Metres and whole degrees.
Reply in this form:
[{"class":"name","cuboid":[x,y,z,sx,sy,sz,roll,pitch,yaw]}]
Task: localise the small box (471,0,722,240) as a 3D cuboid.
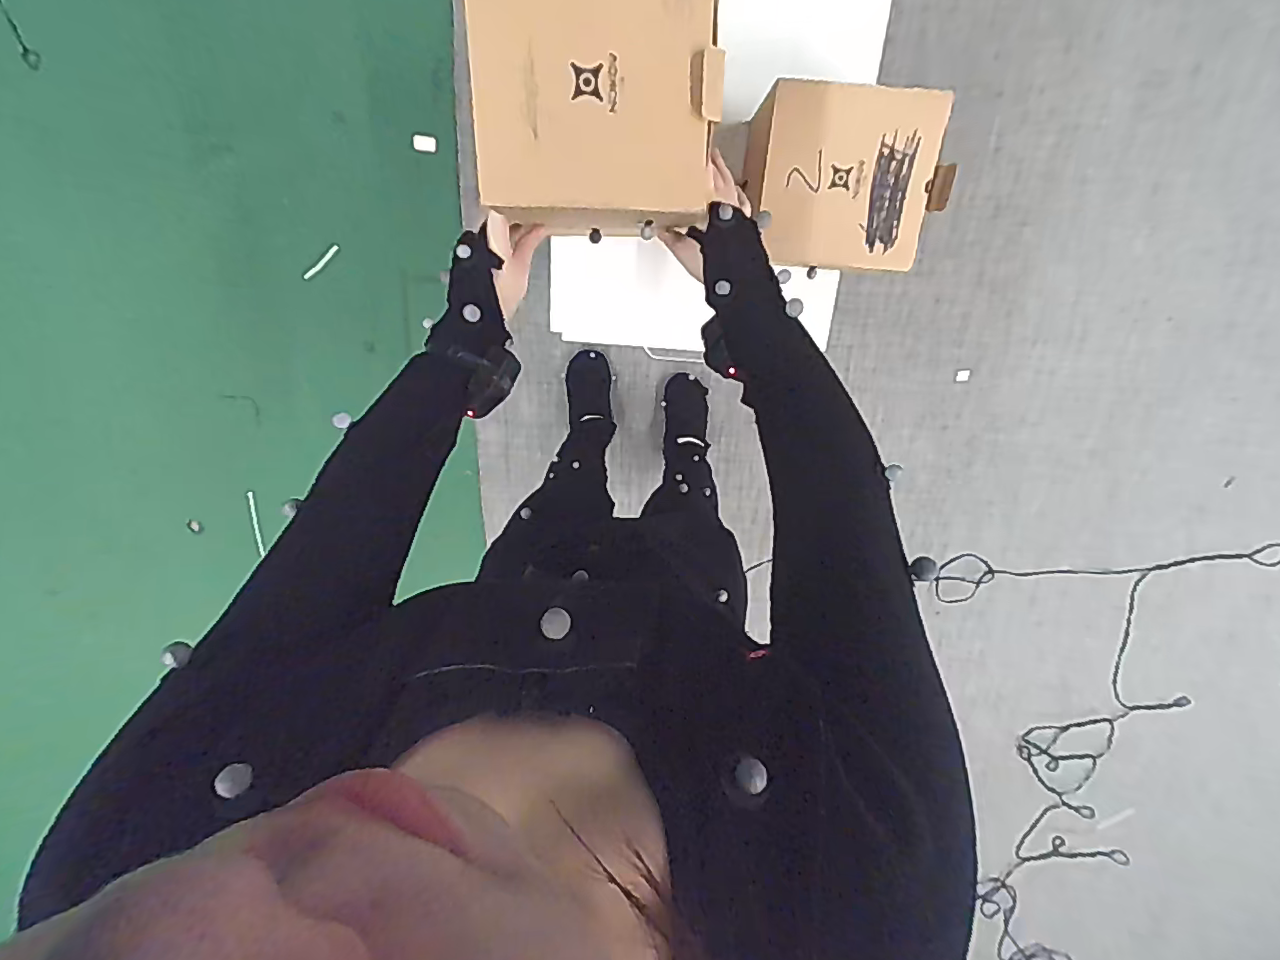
[{"class":"small box","cuboid":[-0.033,-0.306,0.469,0.179,0.176,0.168,1,110,-1]}]
